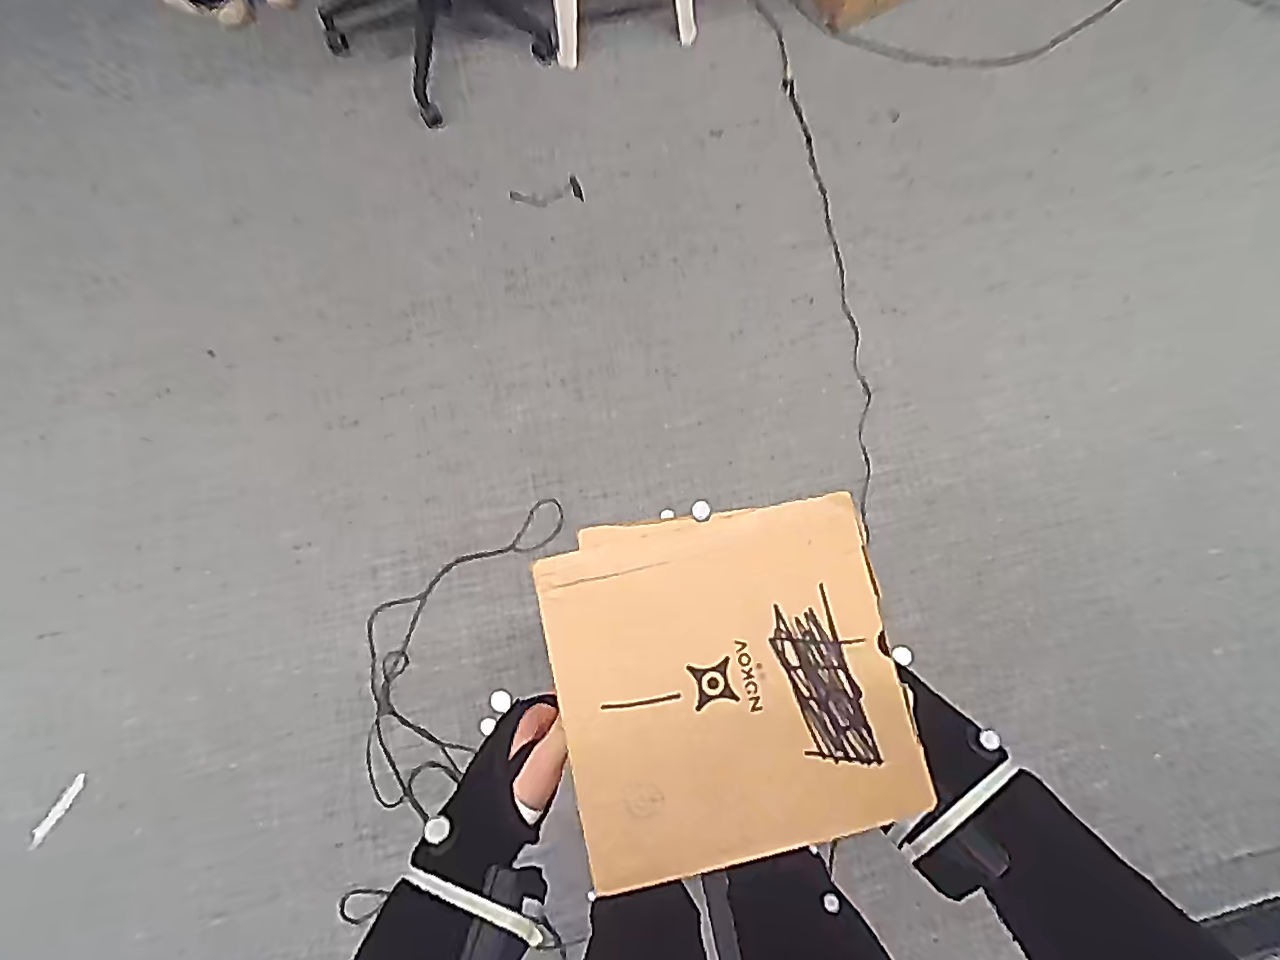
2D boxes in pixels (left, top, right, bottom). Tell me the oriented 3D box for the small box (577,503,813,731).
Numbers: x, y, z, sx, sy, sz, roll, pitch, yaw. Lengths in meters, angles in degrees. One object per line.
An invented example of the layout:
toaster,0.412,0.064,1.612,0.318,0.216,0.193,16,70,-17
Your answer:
small box,0.043,0.120,0.513,0.179,0.176,0.168,-7,82,-2
